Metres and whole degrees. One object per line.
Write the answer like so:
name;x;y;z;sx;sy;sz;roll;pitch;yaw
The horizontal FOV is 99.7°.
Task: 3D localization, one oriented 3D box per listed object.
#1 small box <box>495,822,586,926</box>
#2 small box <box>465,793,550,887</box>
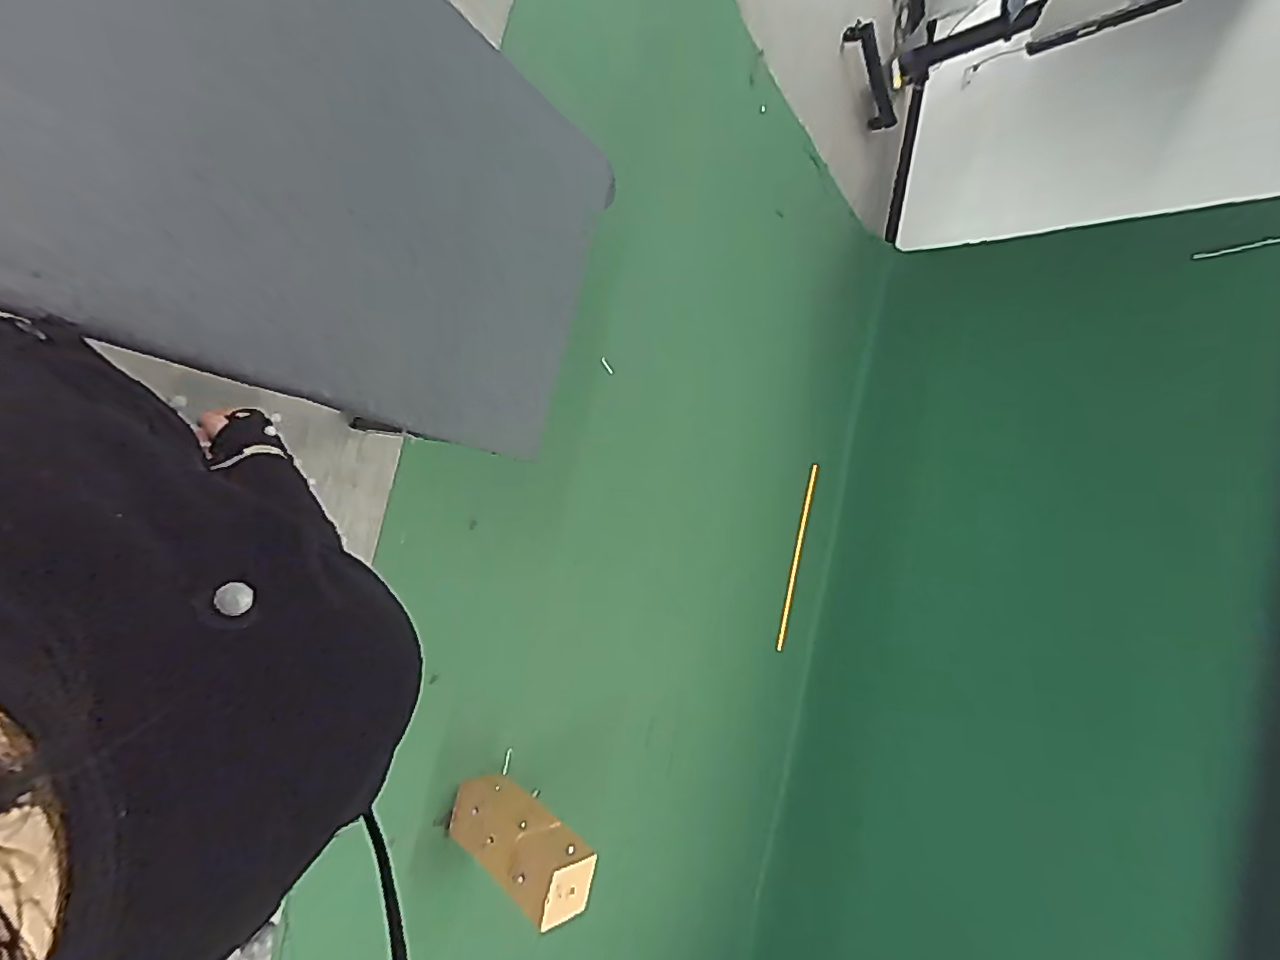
small box;-0.294;1.151;1.600;0.179;0.176;0.168;20;82;-48
small box;-0.418;1.122;1.706;0.179;0.176;0.168;18;84;-48
